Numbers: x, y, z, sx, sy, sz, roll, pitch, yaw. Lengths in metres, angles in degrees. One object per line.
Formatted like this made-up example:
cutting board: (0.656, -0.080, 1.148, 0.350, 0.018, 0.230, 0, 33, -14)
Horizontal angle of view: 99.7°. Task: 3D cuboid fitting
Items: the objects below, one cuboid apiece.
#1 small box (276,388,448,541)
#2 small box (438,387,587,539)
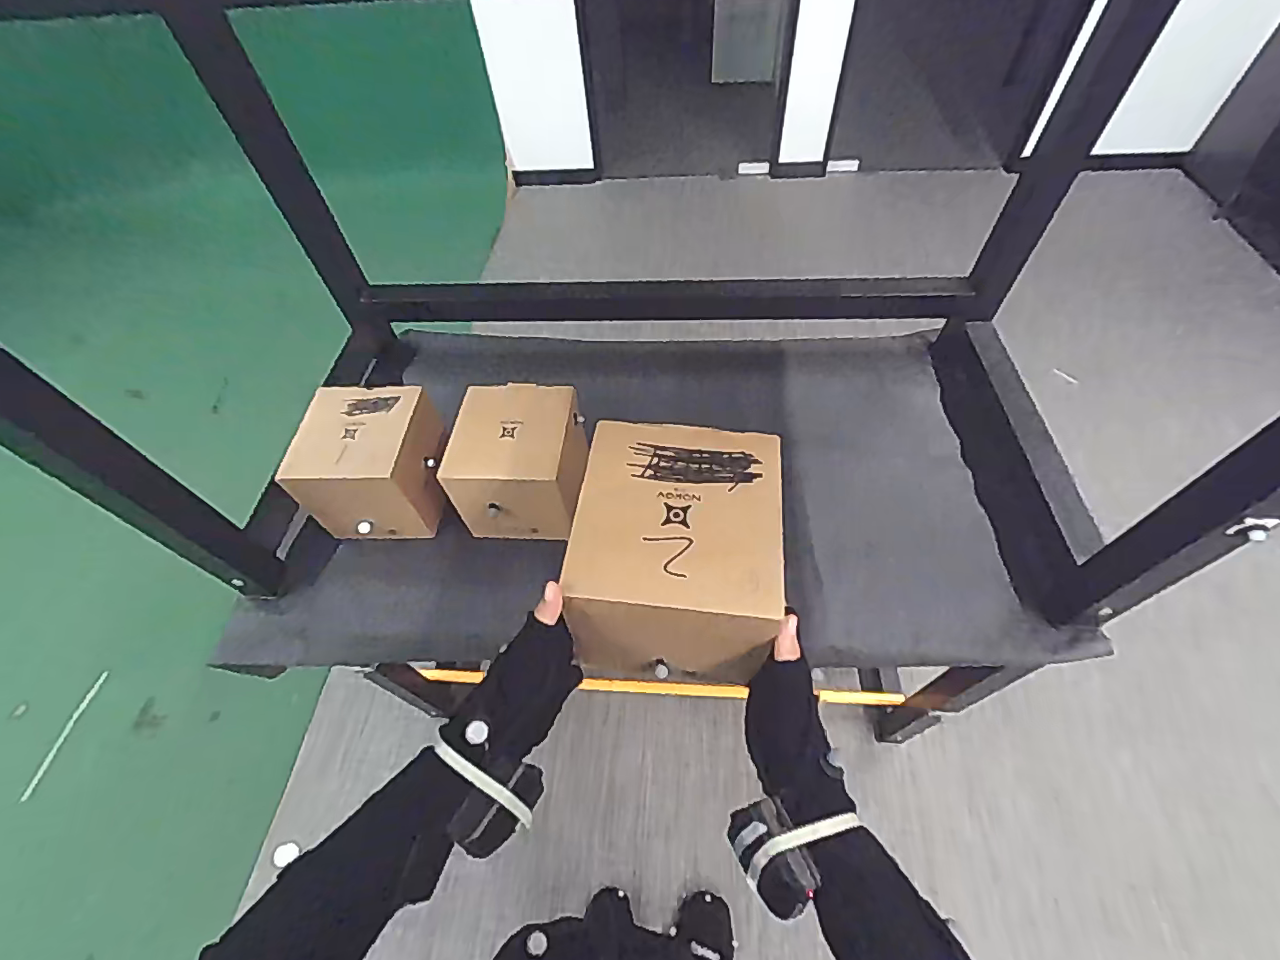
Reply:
small box: (-0.407, -0.023, 0.841, 0.168, 0.176, 0.179, 0, 54, 4)
small box: (-0.180, -0.023, 0.828, 0.168, 0.176, 0.179, 1, 53, 5)
